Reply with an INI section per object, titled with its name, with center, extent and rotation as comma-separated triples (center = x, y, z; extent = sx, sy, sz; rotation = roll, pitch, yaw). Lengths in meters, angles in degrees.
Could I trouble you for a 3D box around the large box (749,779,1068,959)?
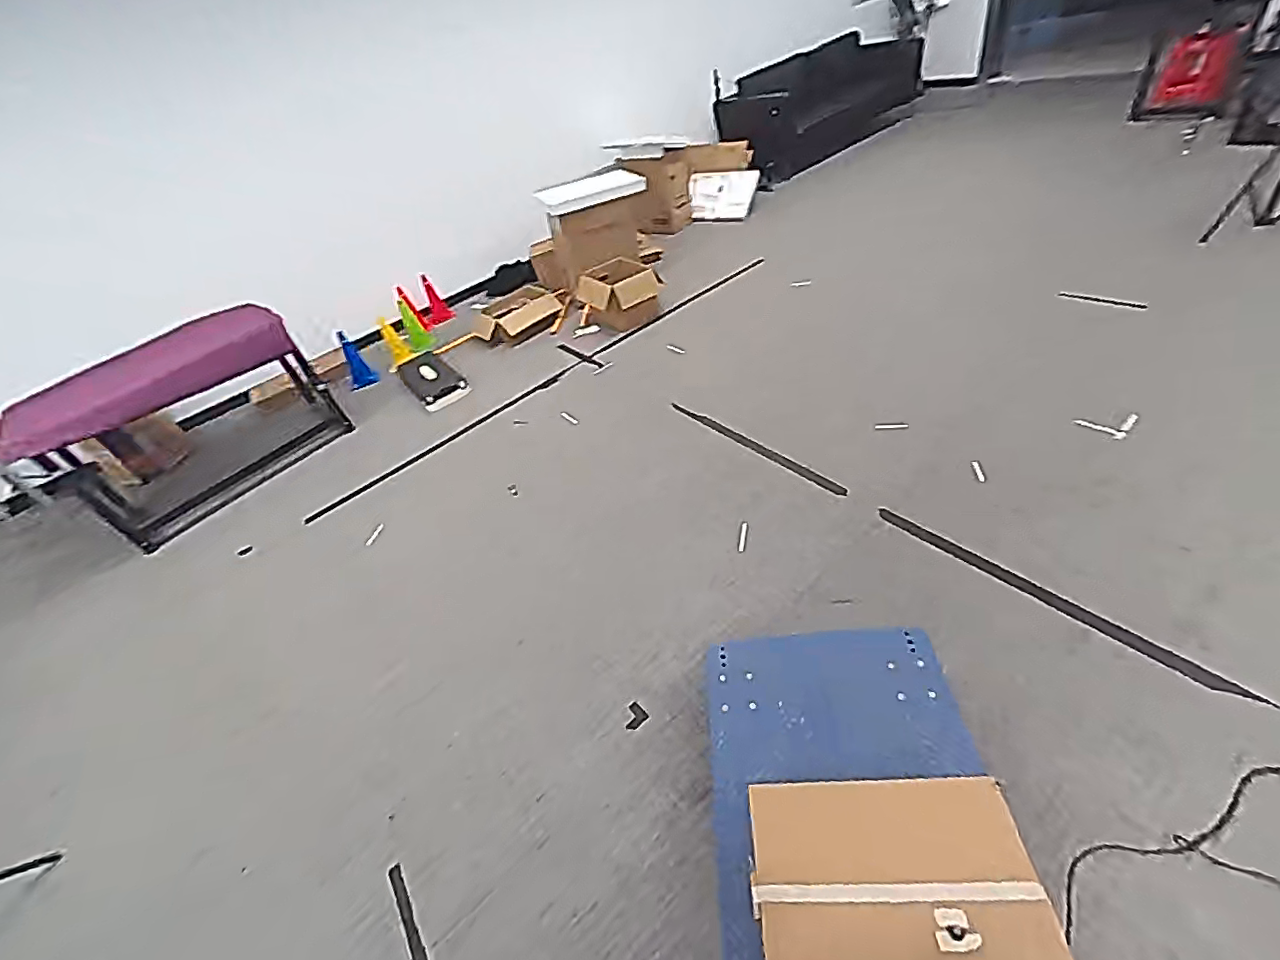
[large box]
center = 0.410, 0.731, 0.904
extent = 0.408, 0.320, 0.320
rotation = -7, 41, 9
